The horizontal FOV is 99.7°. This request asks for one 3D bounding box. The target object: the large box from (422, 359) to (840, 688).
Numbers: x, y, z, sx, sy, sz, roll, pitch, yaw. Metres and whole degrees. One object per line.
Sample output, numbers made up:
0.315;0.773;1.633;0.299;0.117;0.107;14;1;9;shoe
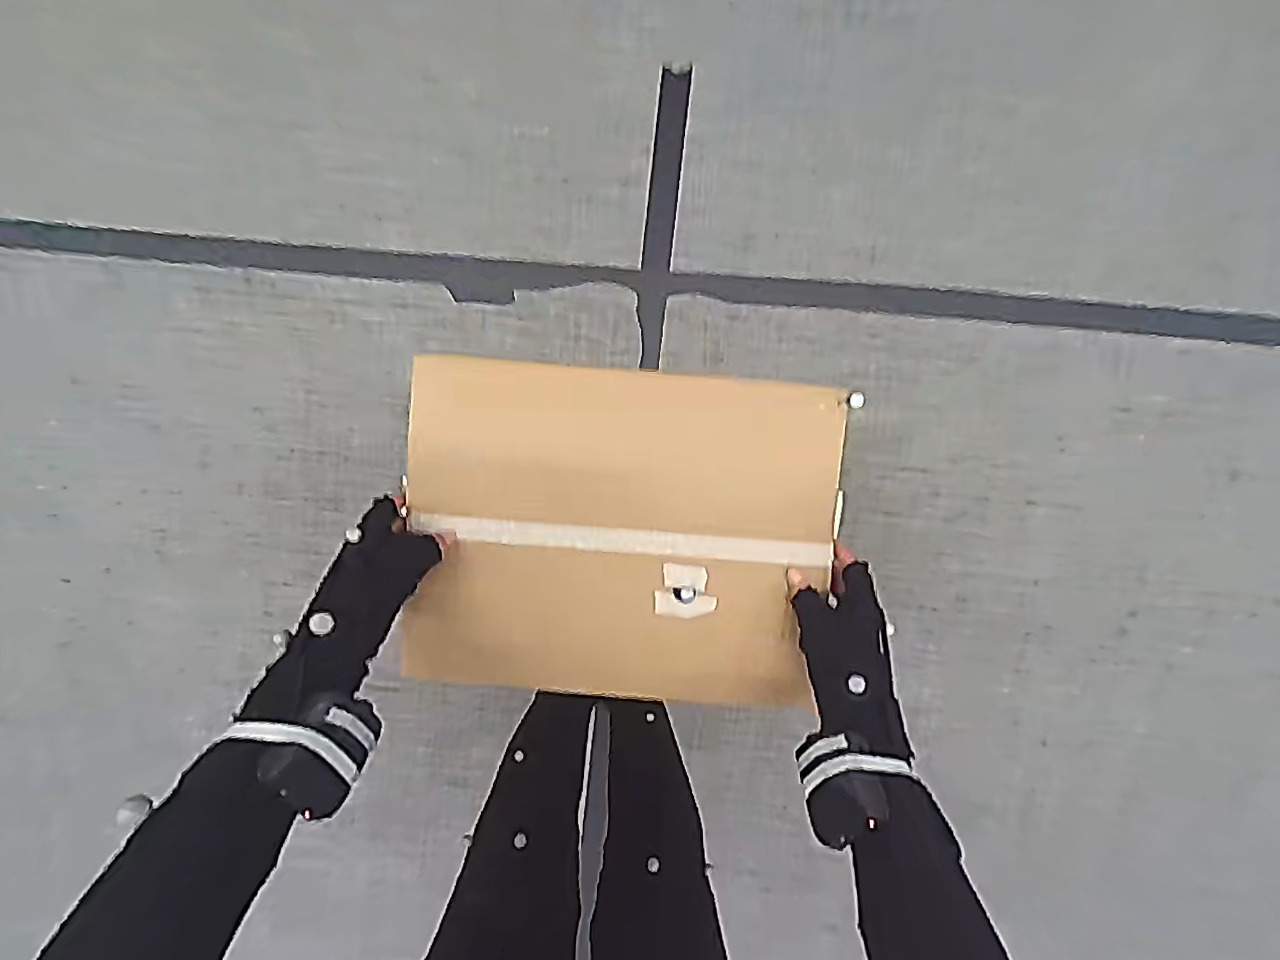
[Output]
-0.015;0.034;0.679;0.408;0.320;0.320;4;96;0;large box
